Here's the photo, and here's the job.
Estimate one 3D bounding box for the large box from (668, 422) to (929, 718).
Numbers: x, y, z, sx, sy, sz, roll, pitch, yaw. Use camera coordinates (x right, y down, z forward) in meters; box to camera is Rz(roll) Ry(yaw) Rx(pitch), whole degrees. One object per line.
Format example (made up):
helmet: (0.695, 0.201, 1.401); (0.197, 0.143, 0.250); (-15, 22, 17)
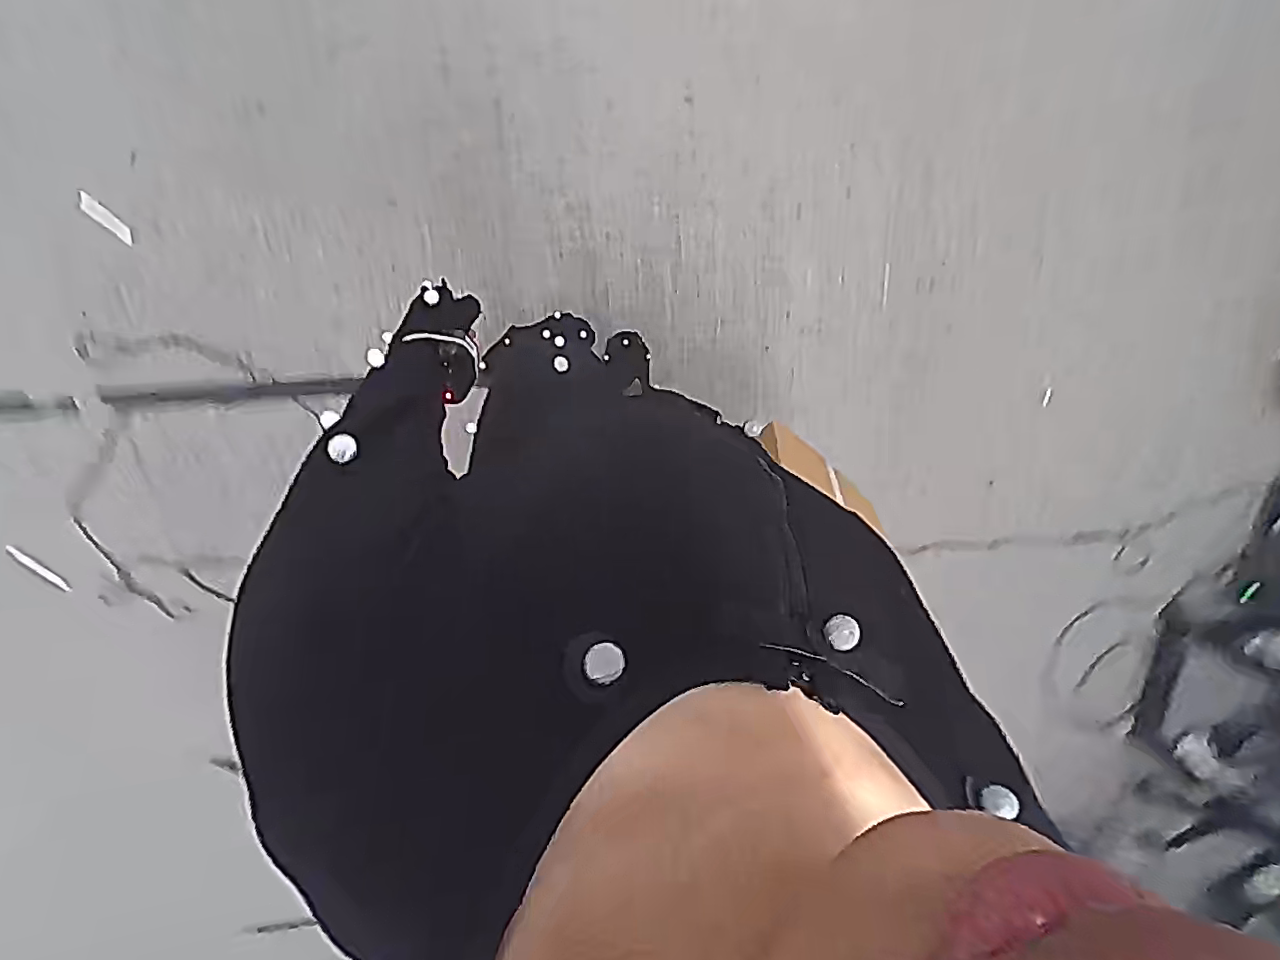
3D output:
large box: (0.275, 0.165, 1.056); (0.320, 0.408, 0.320); (36, 121, -15)
